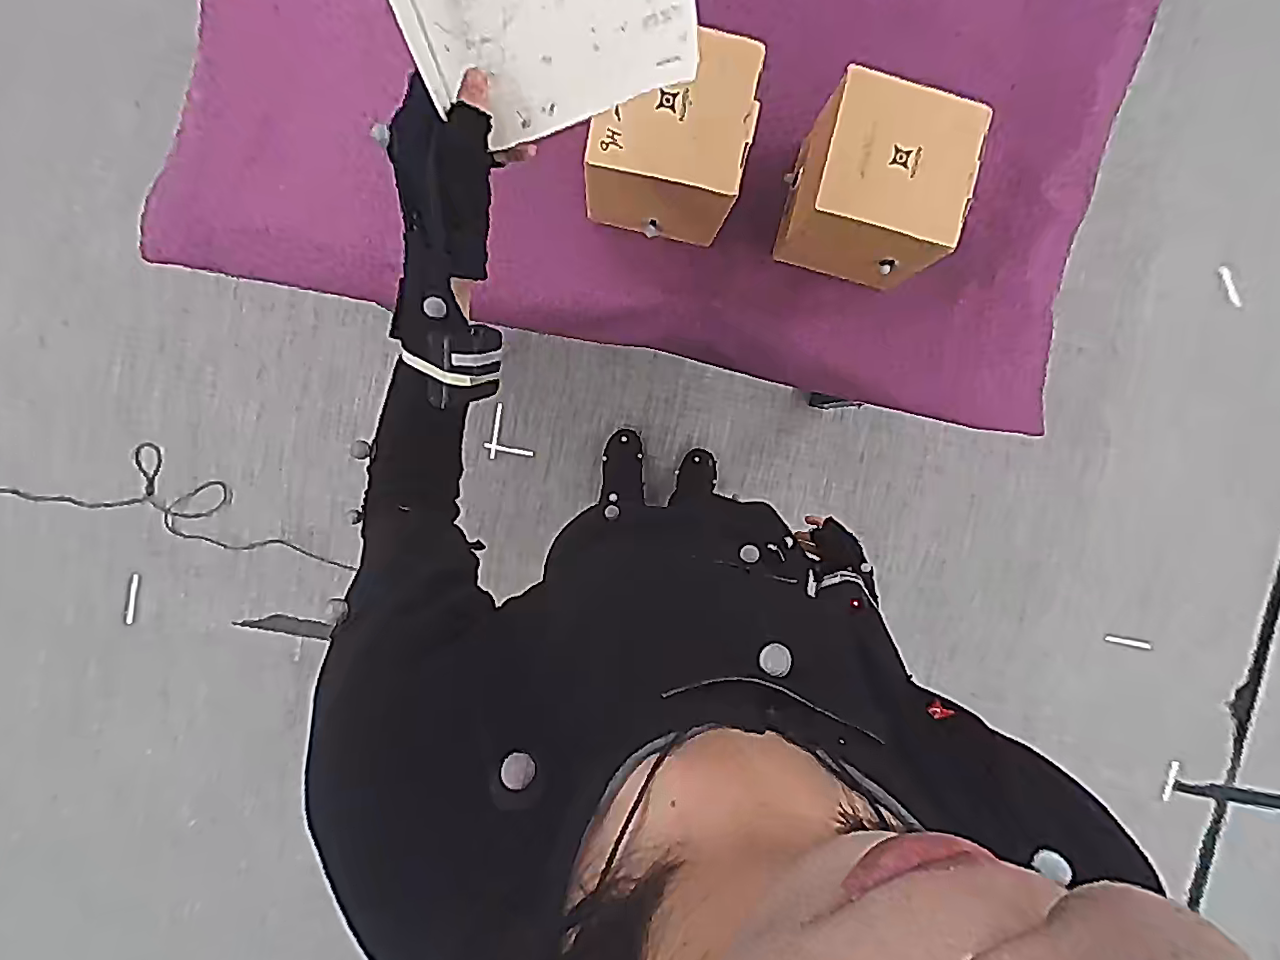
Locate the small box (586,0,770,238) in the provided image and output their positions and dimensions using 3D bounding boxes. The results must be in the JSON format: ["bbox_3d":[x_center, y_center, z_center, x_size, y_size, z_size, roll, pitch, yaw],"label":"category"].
[{"bbox_3d":[0.035,-0.417,0.661,0.179,0.176,0.168,10,94,-5],"label":"small box"}]

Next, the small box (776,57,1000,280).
[{"bbox_3d":[0.296,-0.370,0.682,0.179,0.176,0.168,14,92,-3],"label":"small box"}]
